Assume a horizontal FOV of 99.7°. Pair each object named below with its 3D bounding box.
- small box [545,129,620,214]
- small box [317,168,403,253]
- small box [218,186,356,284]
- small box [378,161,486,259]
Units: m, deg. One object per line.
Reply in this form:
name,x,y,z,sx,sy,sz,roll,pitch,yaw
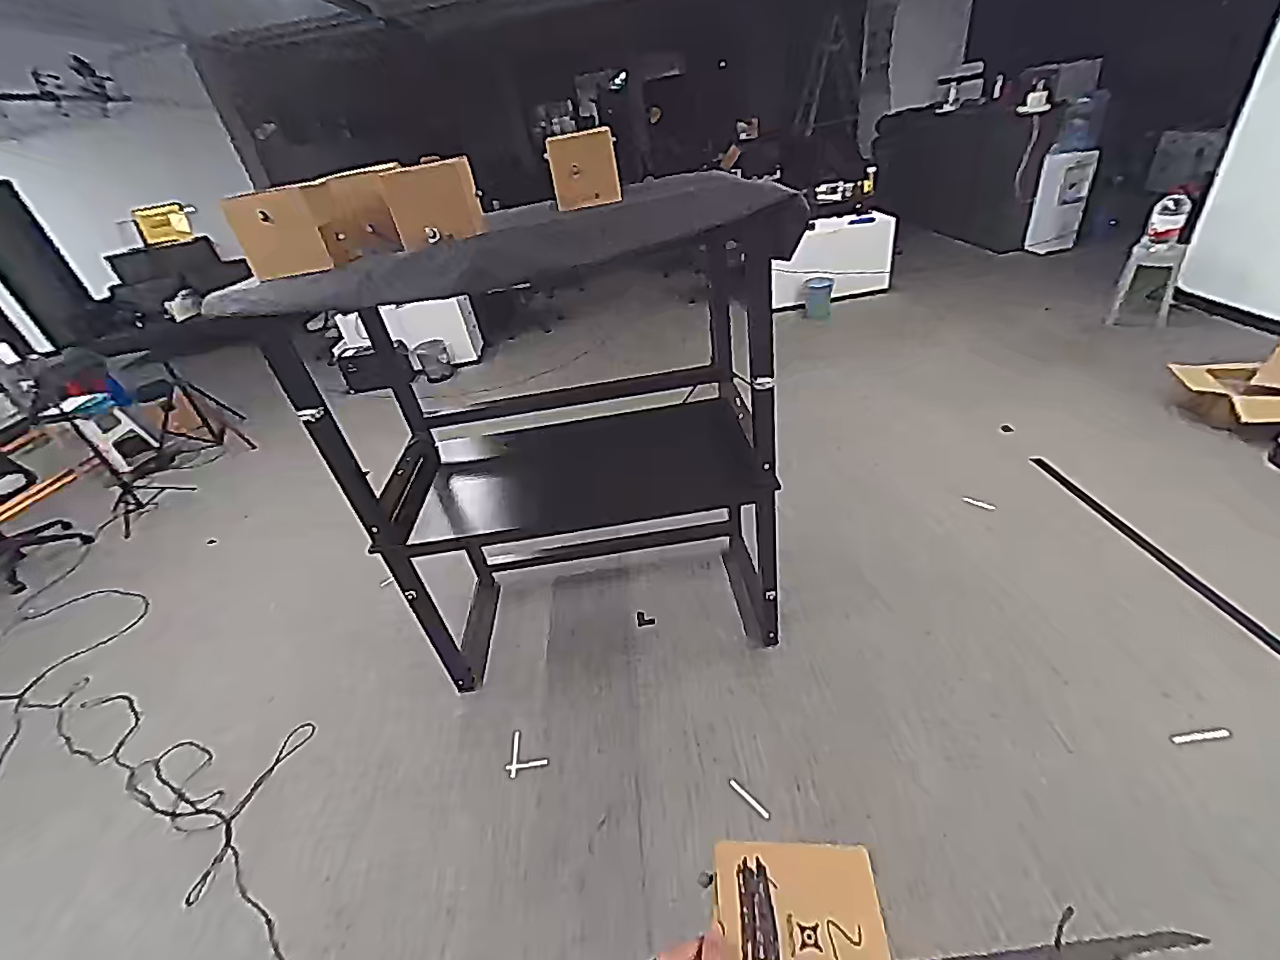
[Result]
small box,-0.151,-0.828,1.455,0.168,0.176,0.179,-10,35,1
small box,-0.719,-0.727,1.458,0.179,0.176,0.168,-10,35,-1
small box,-0.782,-0.553,1.221,0.179,0.176,0.168,-11,33,-2
small box,-0.455,-0.607,1.216,0.168,0.176,0.179,-13,33,-2
